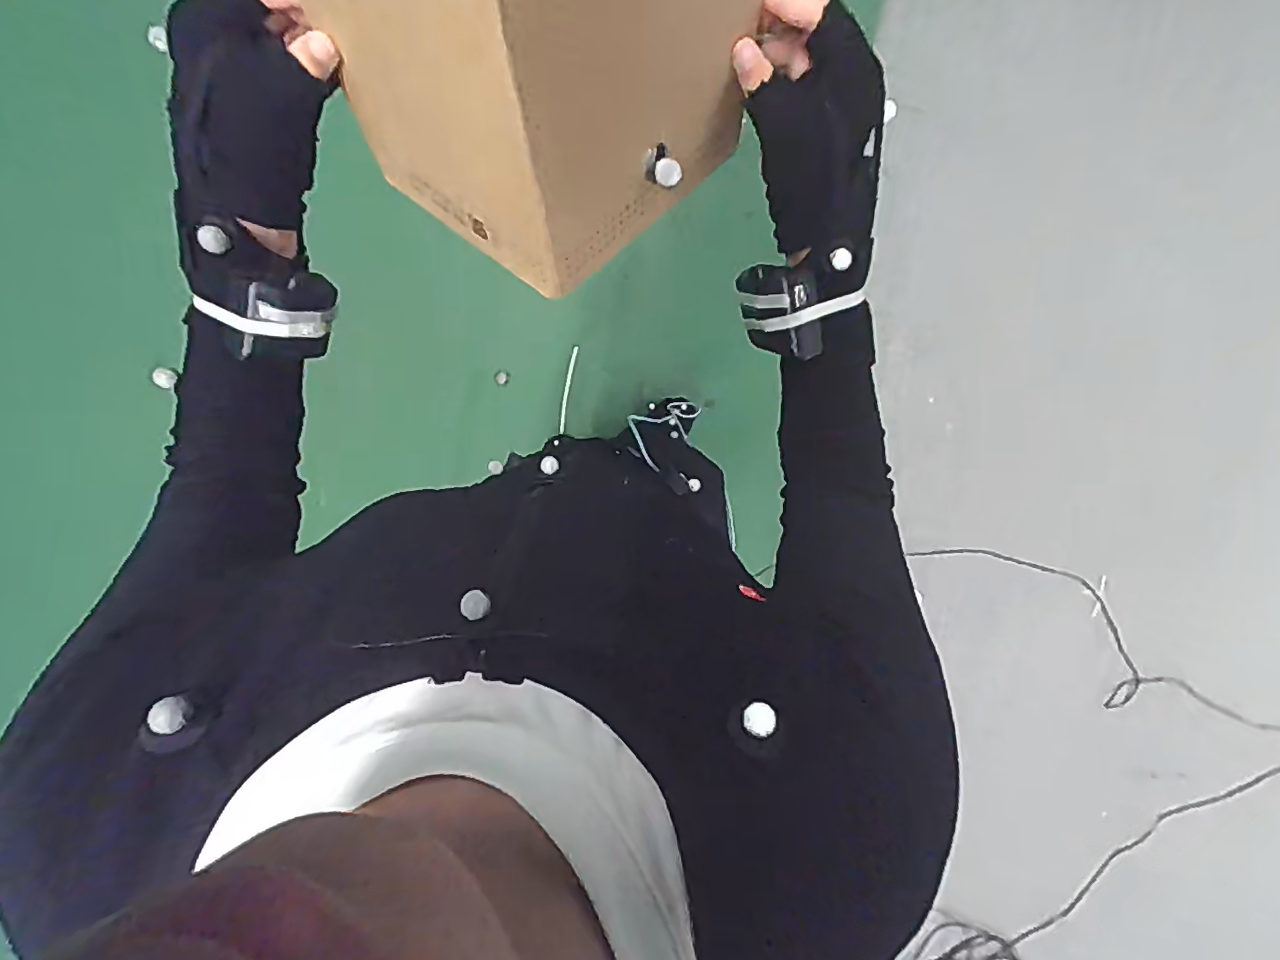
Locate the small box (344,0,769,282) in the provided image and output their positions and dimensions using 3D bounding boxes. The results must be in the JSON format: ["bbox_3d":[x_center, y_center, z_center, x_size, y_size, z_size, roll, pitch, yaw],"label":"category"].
[{"bbox_3d":[-0.044,-0.252,0.294,0.168,0.176,0.179,40,73,15],"label":"small box"}]
